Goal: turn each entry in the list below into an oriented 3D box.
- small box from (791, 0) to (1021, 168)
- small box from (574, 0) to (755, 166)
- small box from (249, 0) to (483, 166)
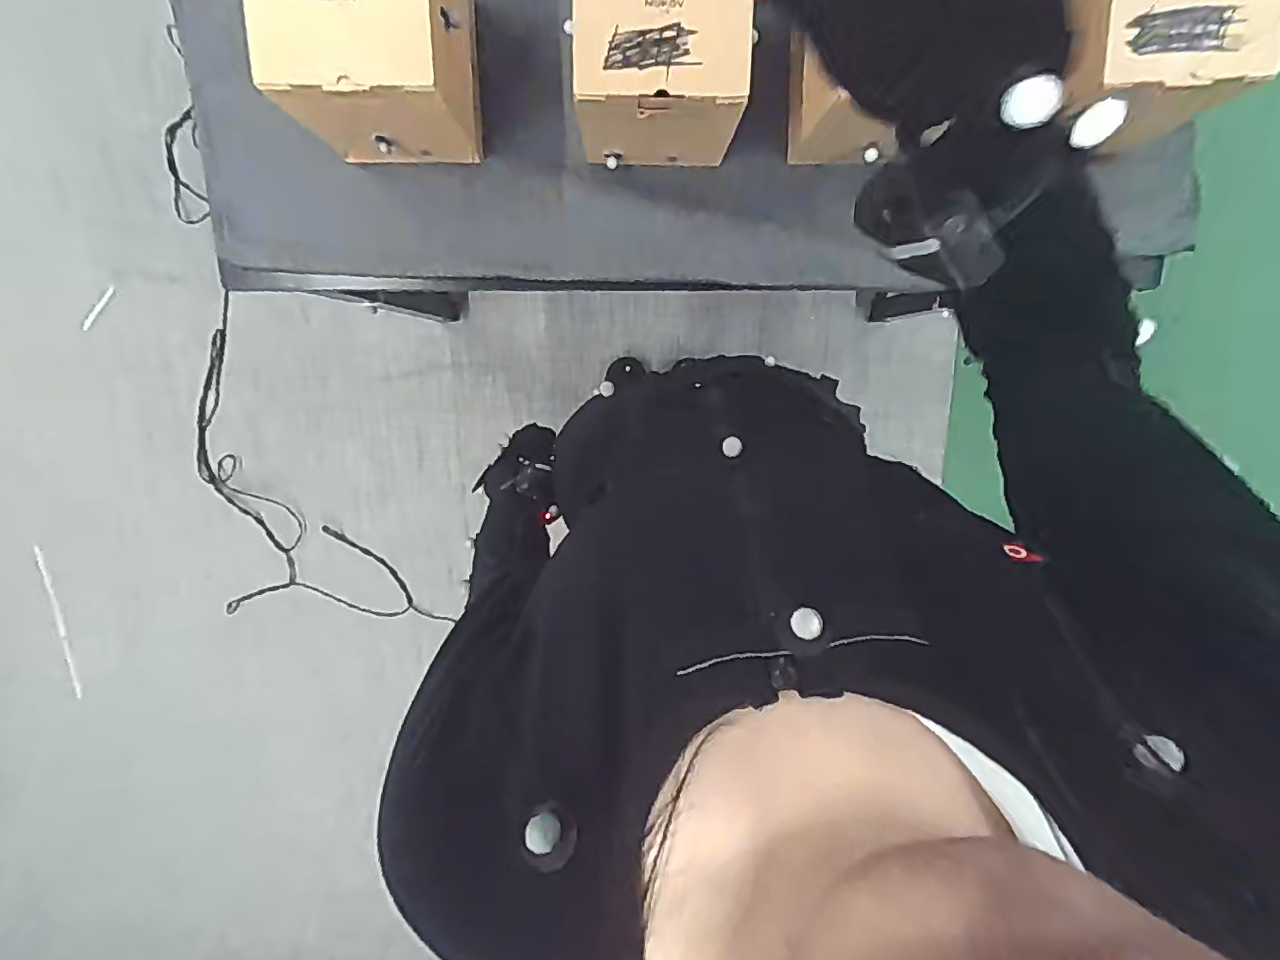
[{"bbox_3d":[0.264,-0.455,0.569,0.168,0.176,0.179,-1,101,1],"label":"small box"},{"bbox_3d":[0.021,-0.451,0.565,0.168,0.176,0.179,0,101,-2],"label":"small box"},{"bbox_3d":[-0.267,-0.453,0.558,0.168,0.176,0.179,-1,101,-2],"label":"small box"}]
